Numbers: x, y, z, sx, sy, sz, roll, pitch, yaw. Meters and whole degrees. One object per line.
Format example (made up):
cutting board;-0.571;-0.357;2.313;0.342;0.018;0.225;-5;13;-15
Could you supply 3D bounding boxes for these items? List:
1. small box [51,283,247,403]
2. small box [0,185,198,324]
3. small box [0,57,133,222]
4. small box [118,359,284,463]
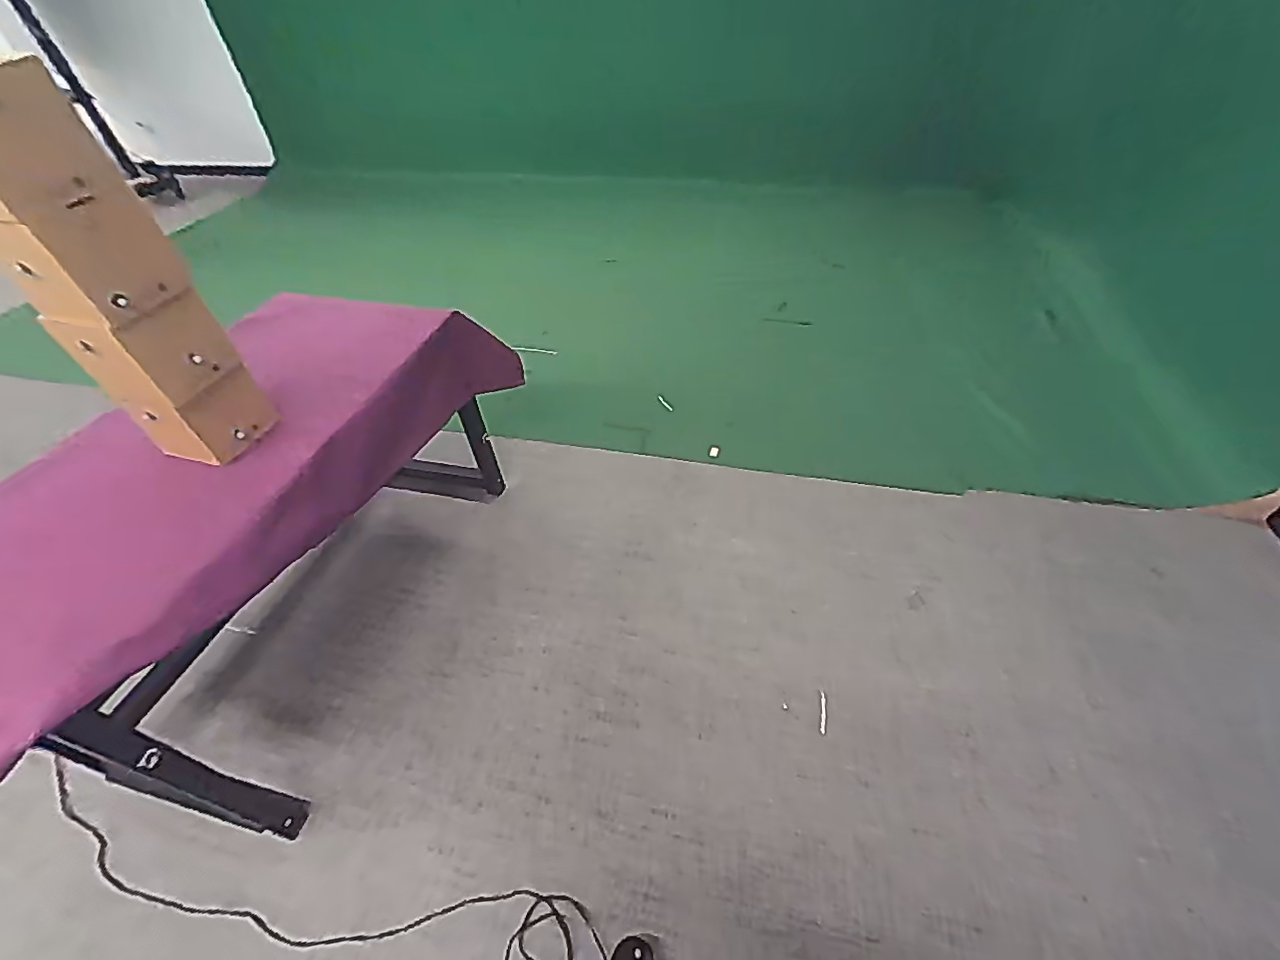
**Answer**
small box;-0.910;-0.263;1.020;0.179;0.176;0.168;11;49;14
small box;-0.908;-0.378;0.903;0.179;0.176;0.168;11;48;15
small box;-0.922;-0.492;0.786;0.179;0.176;0.168;12;49;16
small box;-0.915;-0.156;1.144;0.179;0.176;0.168;12;48;15
